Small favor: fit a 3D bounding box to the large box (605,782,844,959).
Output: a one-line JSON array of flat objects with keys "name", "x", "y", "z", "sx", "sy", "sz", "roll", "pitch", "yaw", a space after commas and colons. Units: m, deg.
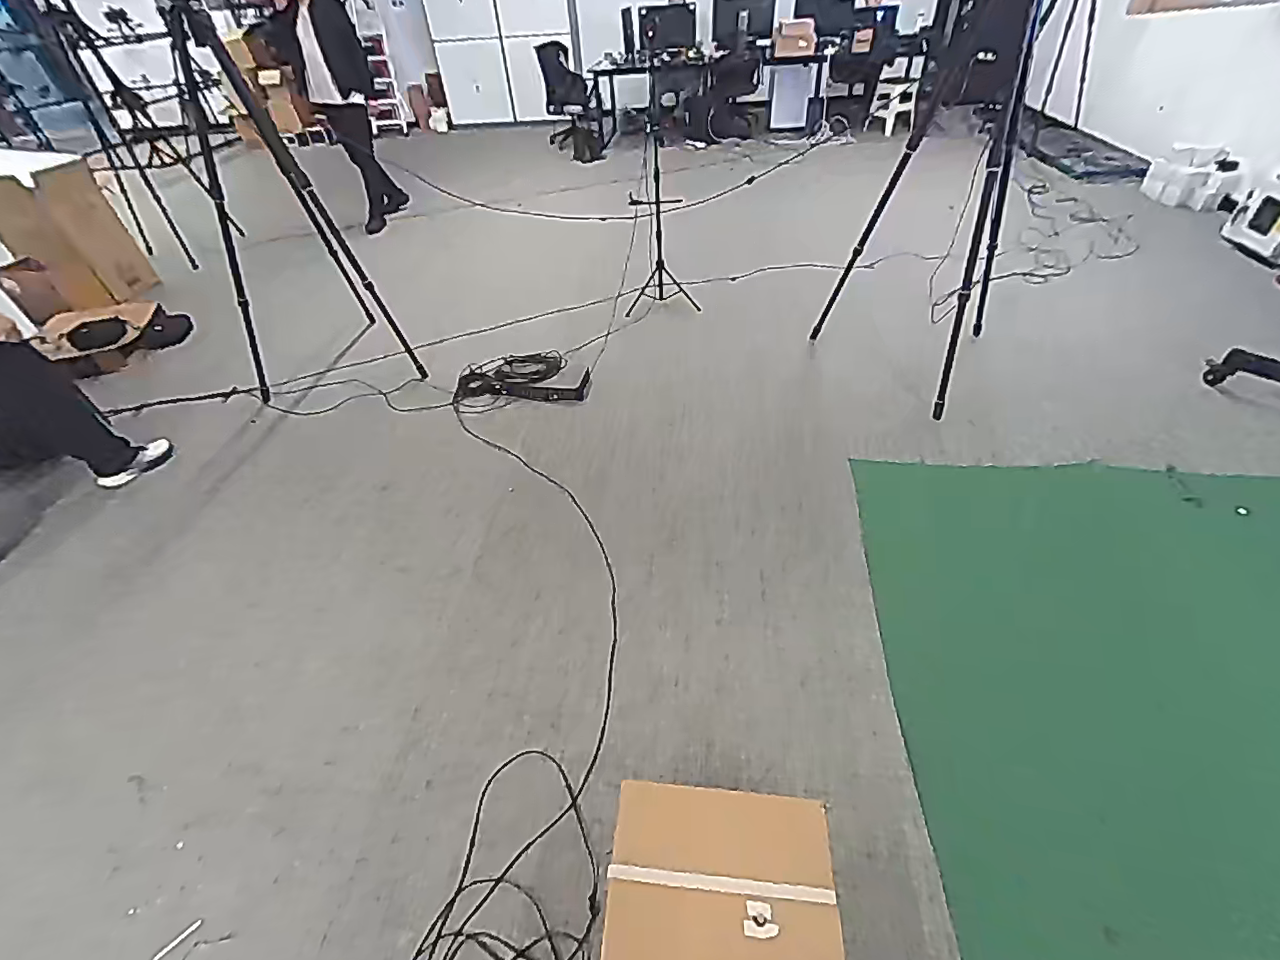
[{"name": "large box", "x": 0.153, "y": 0.836, "z": 1.071, "sx": 0.408, "sy": 0.320, "sz": 0.320, "roll": 3, "pitch": 43, "yaw": 6}]
